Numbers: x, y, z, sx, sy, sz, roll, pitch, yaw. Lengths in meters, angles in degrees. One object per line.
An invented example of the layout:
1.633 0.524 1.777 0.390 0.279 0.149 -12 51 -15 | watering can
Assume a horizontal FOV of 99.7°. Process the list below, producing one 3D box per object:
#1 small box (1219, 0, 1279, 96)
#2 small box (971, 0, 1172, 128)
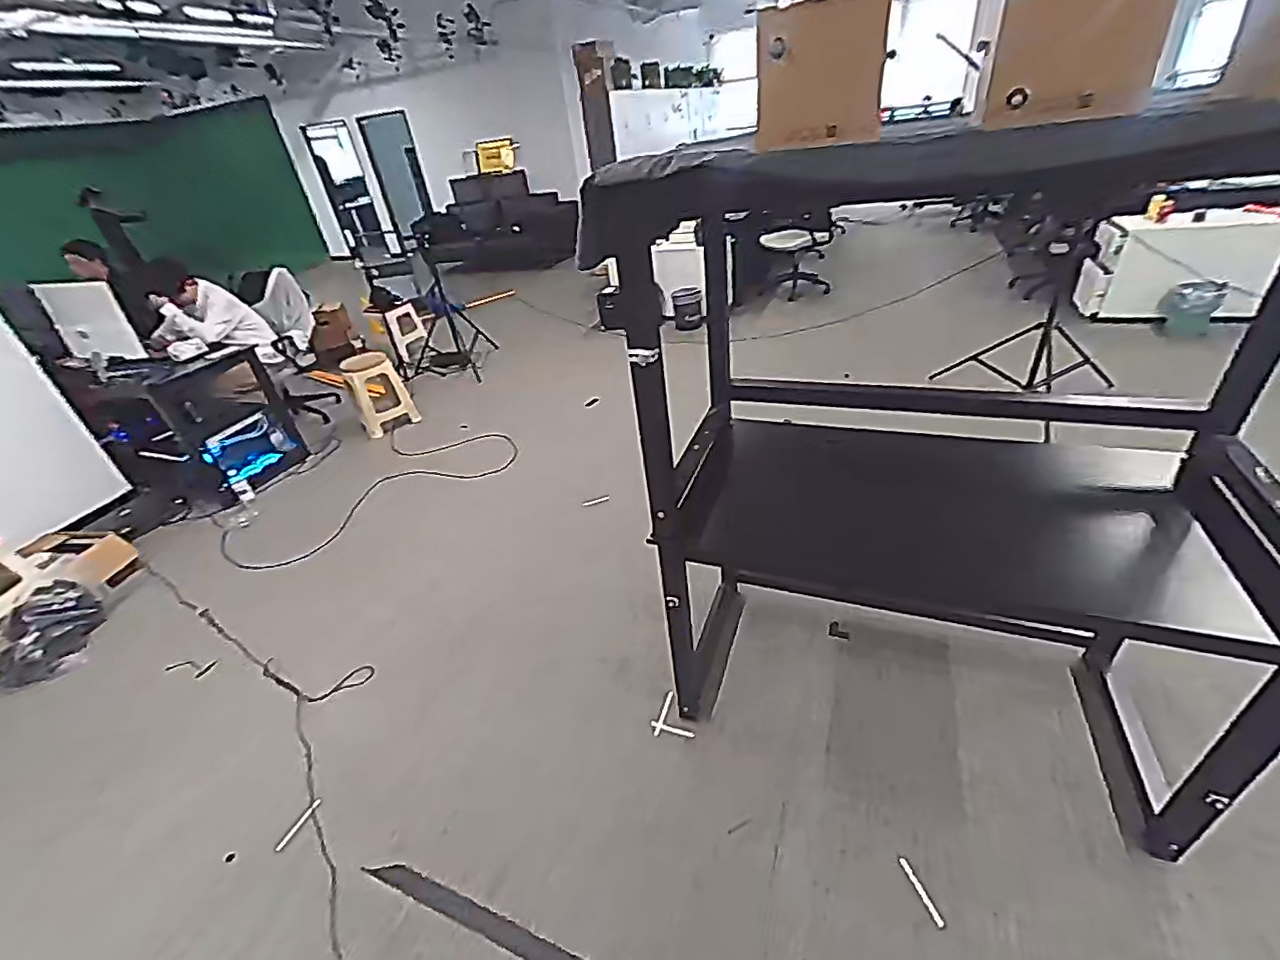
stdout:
0.782 -0.519 0.573 0.168 0.176 0.179 7 35 24 | small box
0.529 -0.550 0.675 0.168 0.176 0.179 7 34 22 | small box
